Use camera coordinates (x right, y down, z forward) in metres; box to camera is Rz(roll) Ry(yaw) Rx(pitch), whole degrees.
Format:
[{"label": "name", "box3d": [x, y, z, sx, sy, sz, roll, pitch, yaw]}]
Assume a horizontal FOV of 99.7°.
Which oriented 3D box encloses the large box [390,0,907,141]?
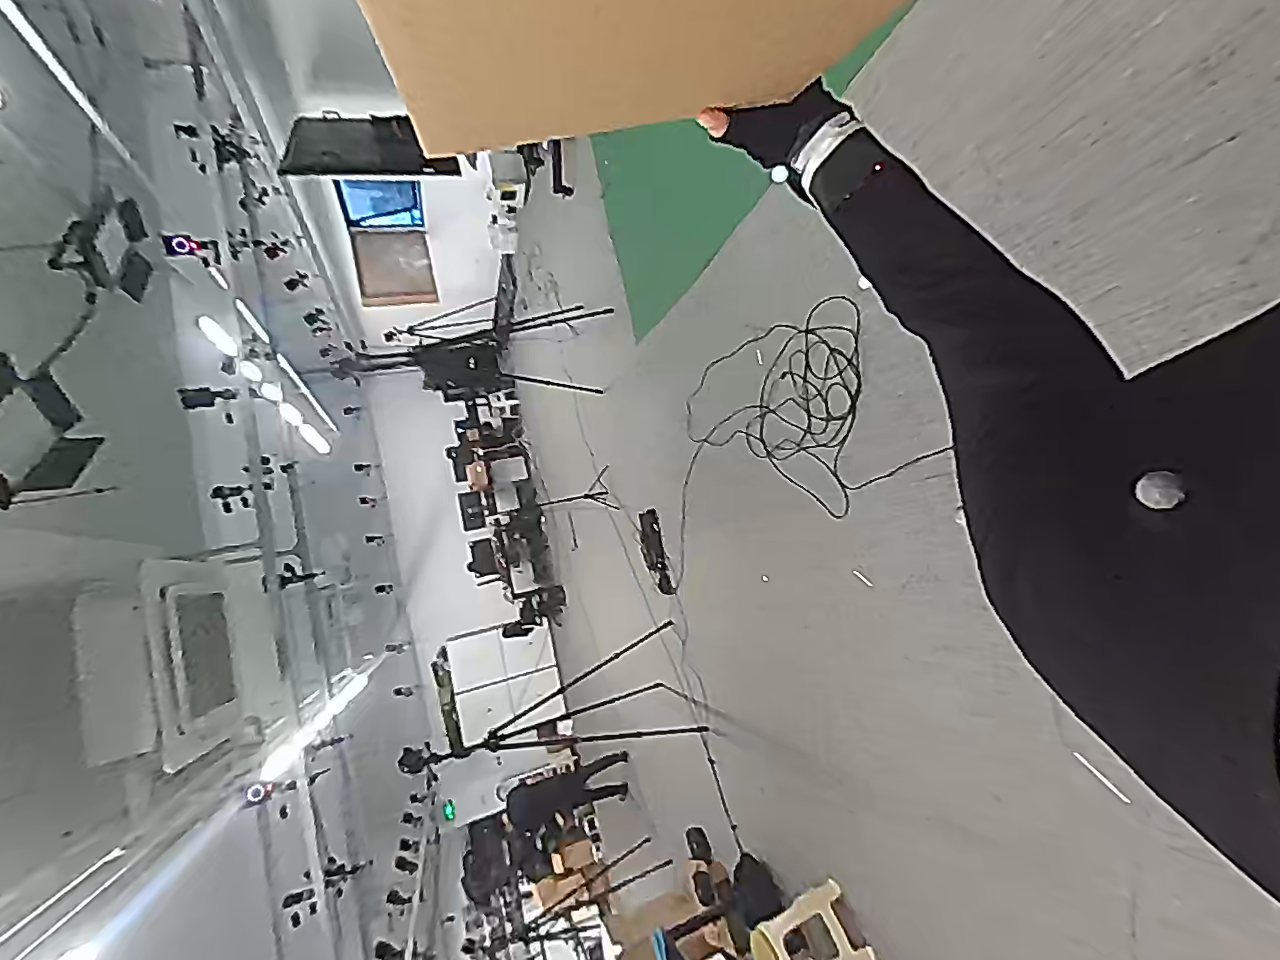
[{"label": "large box", "box3d": [0.012, -0.389, 0.207, 0.408, 0.320, 0.320, -138, 34, -70]}]
